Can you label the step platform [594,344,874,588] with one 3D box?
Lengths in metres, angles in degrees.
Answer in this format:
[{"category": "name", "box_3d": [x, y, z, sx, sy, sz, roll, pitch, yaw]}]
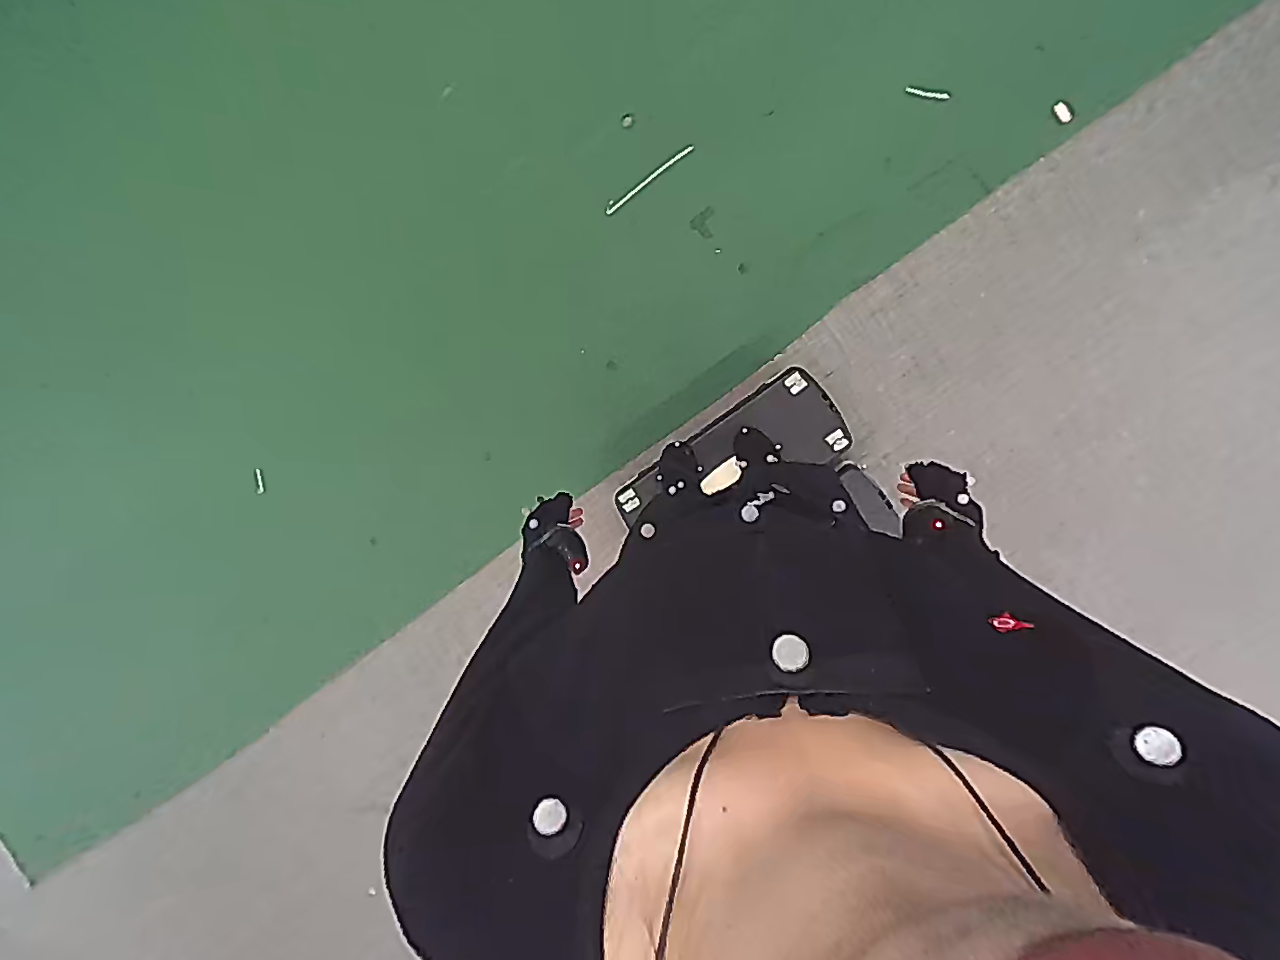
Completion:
[{"category": "step platform", "box_3d": [0.221, -0.035, 1.376, 0.684, 0.204, 0.286, -37, 92, 8]}]
